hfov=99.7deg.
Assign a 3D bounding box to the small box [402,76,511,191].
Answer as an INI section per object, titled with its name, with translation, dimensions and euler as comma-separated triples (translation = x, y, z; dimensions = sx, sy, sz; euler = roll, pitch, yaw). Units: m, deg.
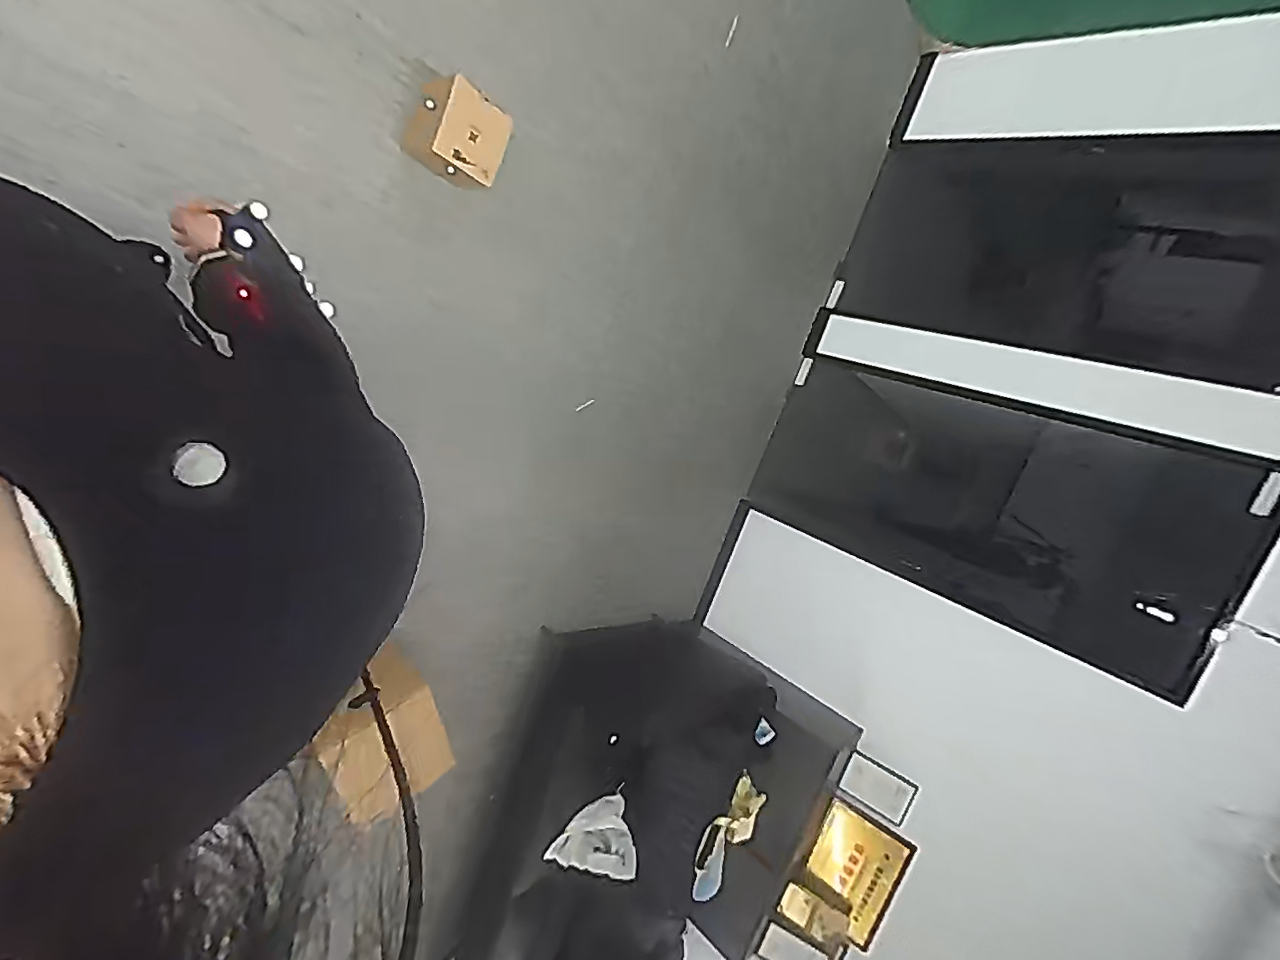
[small box]
translation = -0.451, -0.836, 1.320
dimensions = 0.168, 0.176, 0.179
euler = 13, 100, -52
